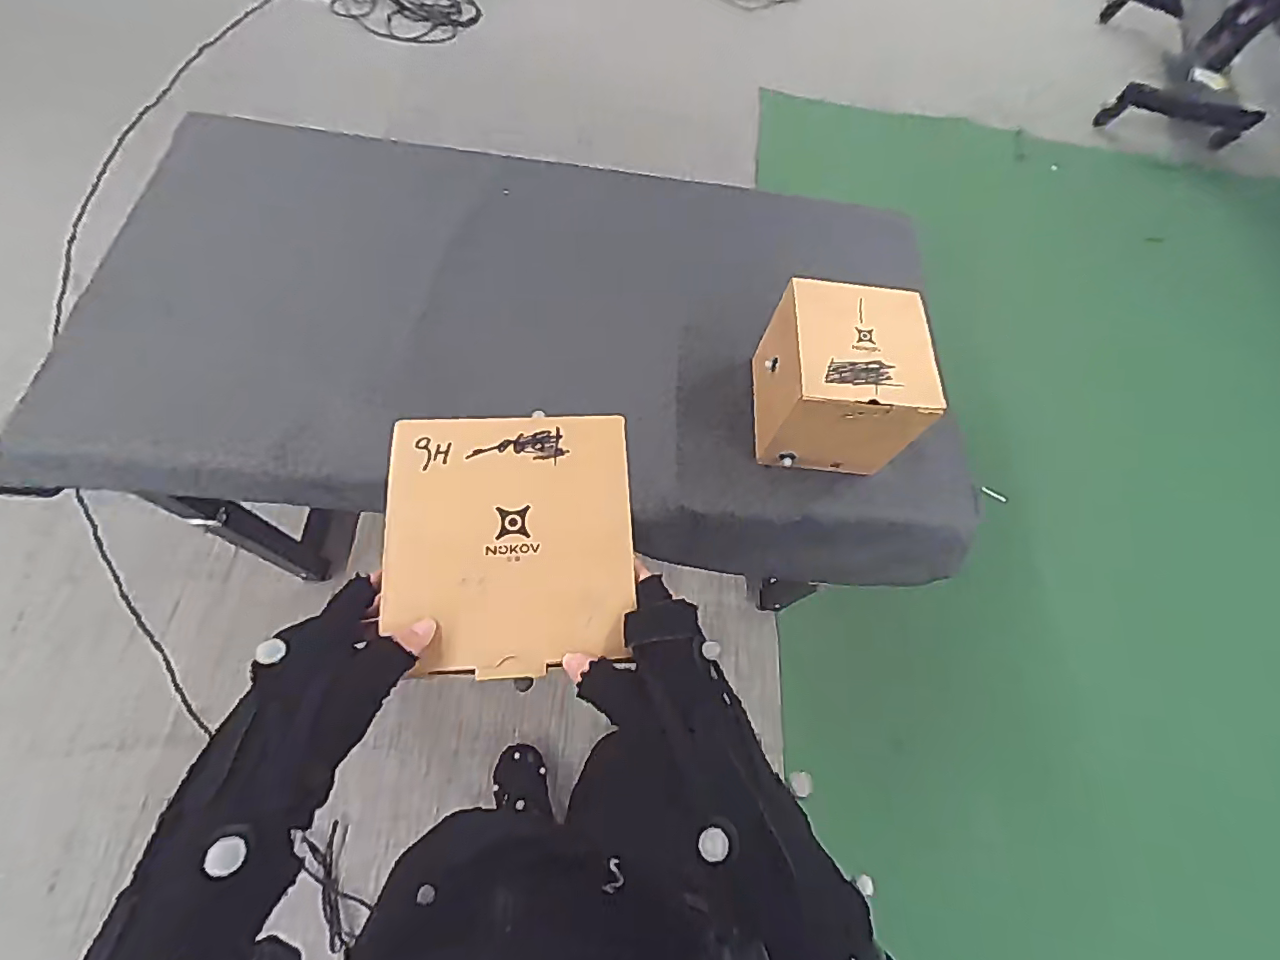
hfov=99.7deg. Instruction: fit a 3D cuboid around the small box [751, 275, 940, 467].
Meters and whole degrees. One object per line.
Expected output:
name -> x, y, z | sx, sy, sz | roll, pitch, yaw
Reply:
small box -> 0.248, -0.130, 0.698 | 0.168, 0.176, 0.179 | 5, 65, -5
